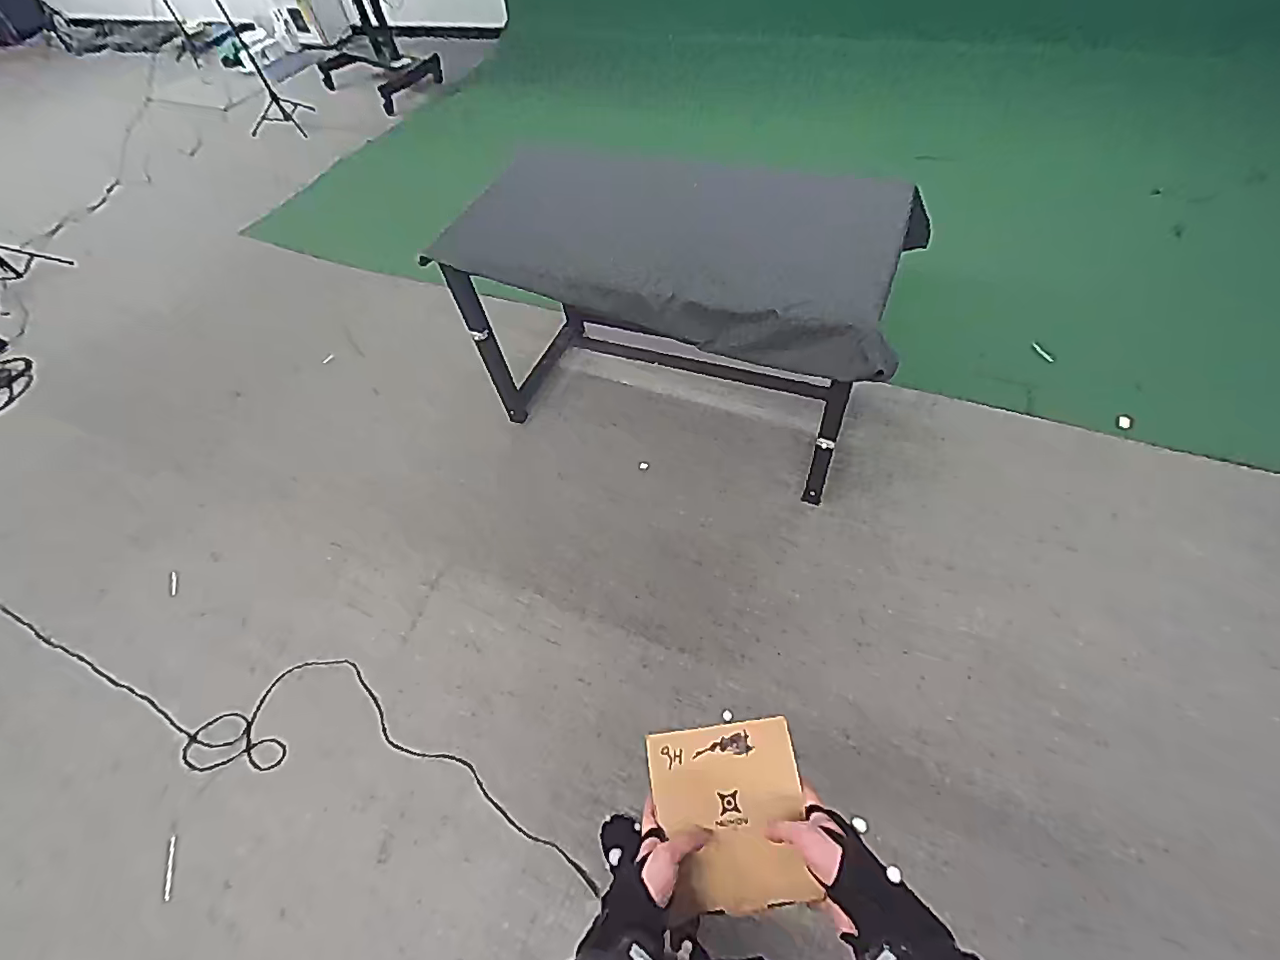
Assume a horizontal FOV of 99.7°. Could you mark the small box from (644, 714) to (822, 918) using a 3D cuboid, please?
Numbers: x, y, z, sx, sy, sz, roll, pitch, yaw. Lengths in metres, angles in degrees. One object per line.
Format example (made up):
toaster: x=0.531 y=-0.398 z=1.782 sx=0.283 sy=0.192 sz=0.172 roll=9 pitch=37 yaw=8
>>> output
small box: x=0.104 y=0.387 z=0.654 sx=0.168 sy=0.176 sz=0.179 roll=-10 pitch=65 yaw=2
